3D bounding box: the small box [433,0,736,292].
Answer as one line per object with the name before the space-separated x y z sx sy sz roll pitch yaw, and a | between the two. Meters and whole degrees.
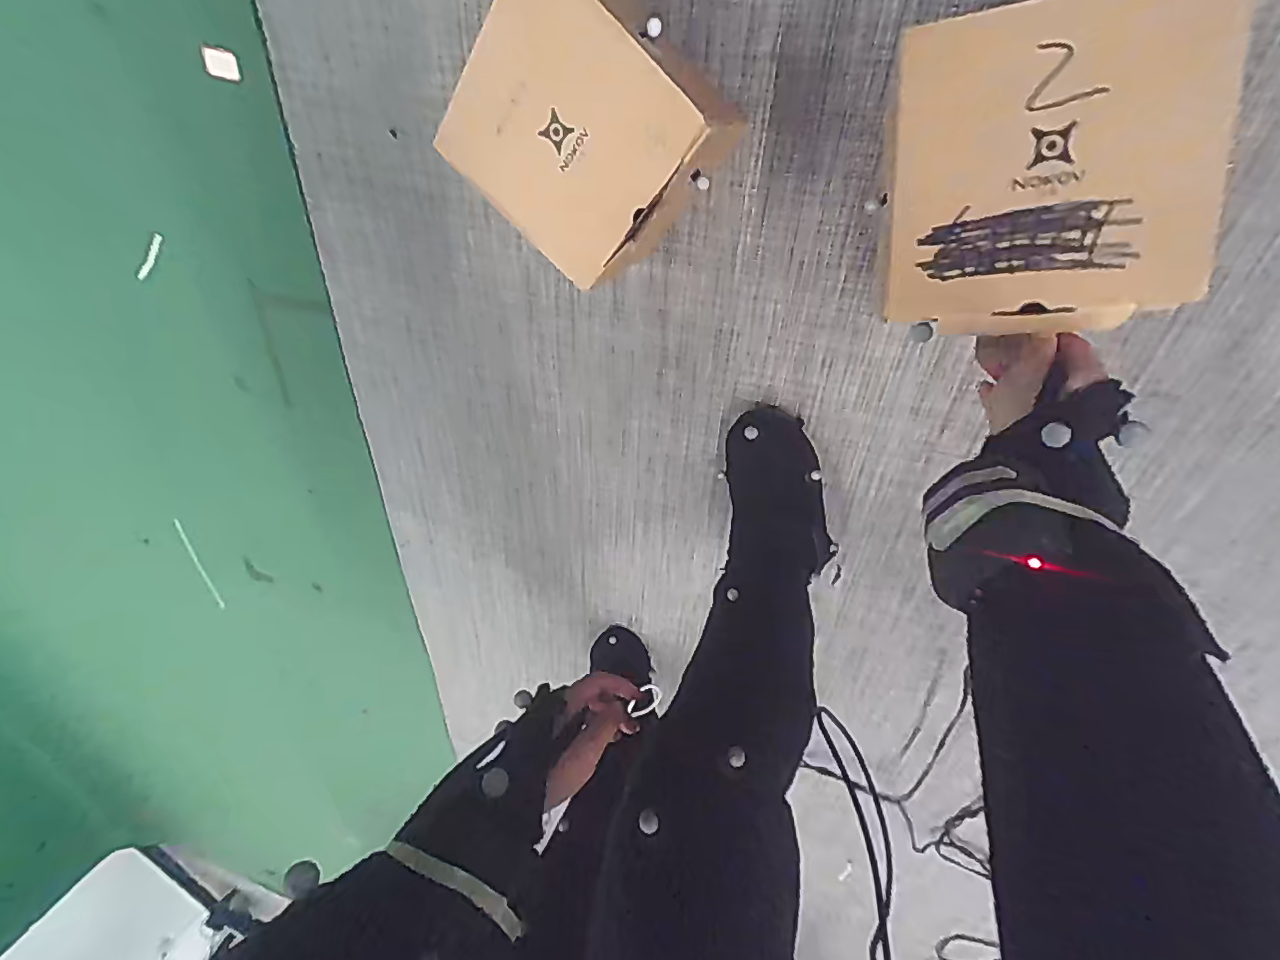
small box | -0.037 -0.305 0.481 0.179 0.176 0.168 43 126 -8
